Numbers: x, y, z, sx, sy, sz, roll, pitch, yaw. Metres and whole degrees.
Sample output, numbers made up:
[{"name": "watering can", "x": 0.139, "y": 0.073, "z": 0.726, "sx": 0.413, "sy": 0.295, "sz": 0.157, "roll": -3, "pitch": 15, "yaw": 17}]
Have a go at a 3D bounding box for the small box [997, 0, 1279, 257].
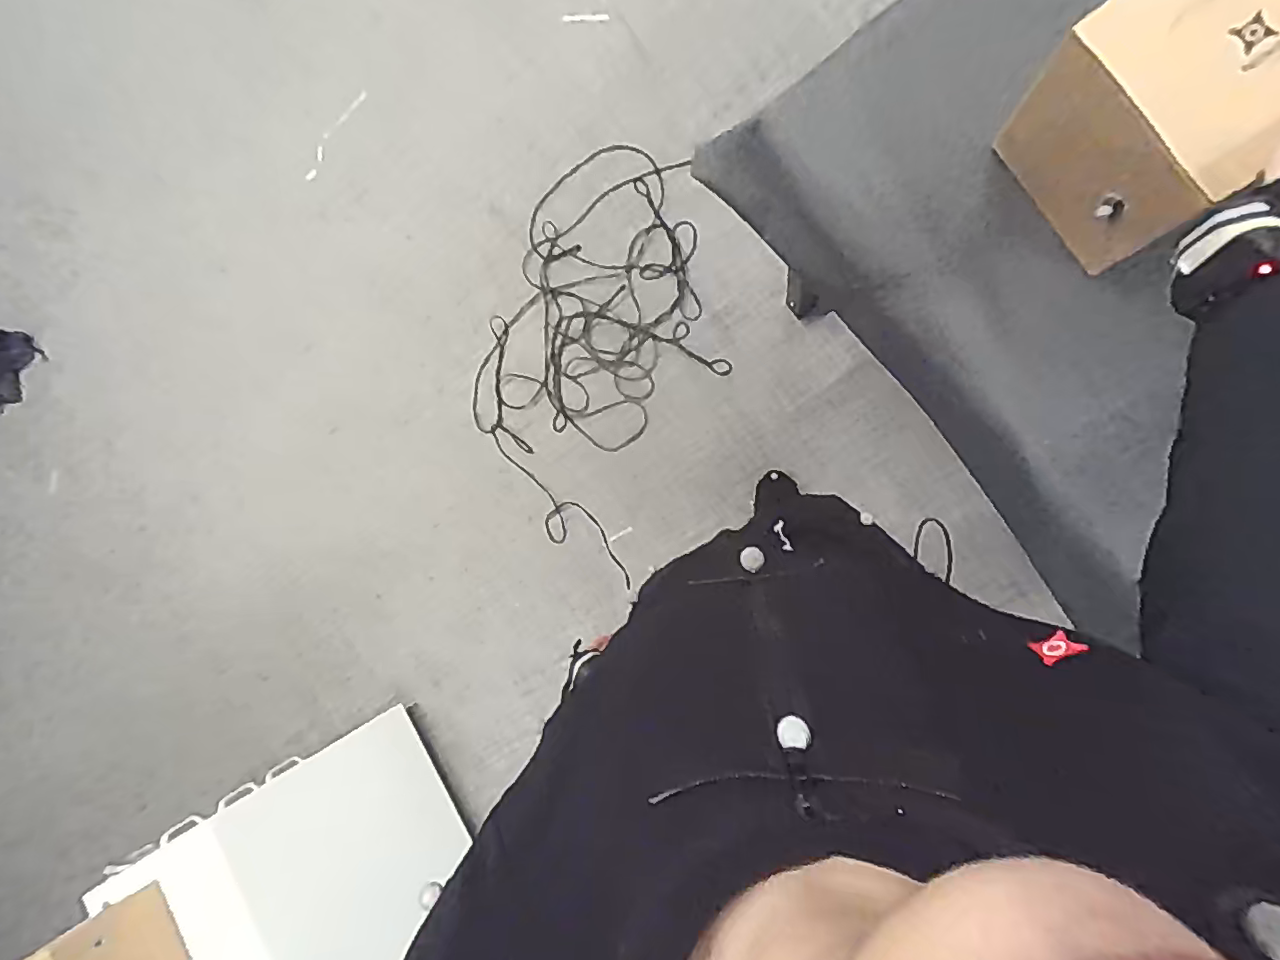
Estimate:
[{"name": "small box", "x": 0.461, "y": -0.321, "z": 0.466, "sx": 0.168, "sy": 0.176, "sz": 0.179, "roll": -34, "pitch": 84, "yaw": 12}]
